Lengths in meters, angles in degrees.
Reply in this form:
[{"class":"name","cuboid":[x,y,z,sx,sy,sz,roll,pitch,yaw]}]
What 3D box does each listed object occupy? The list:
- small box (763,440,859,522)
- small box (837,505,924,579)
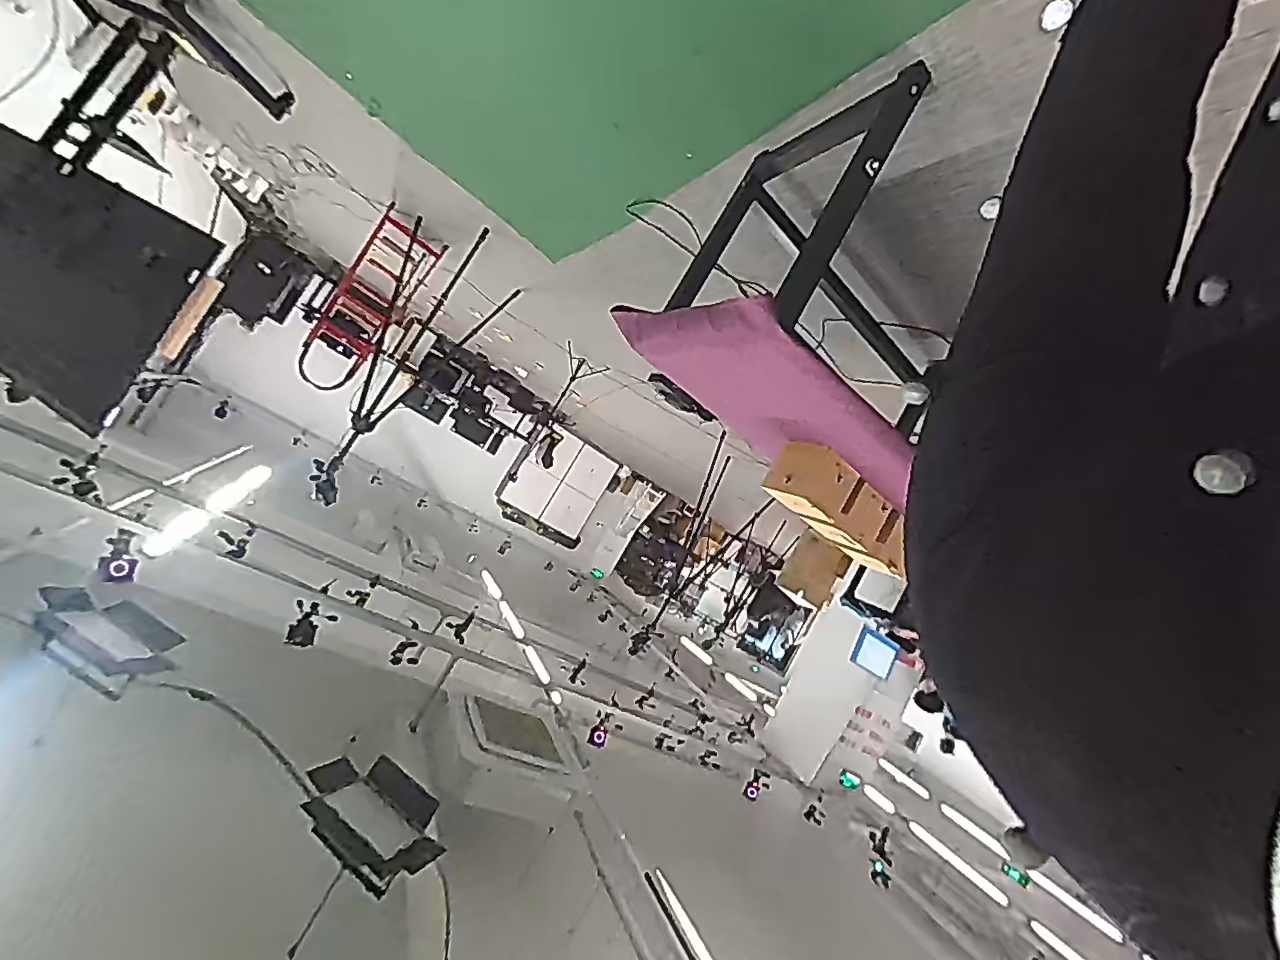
[{"class":"small box","cuboid":[0.507,-0.003,1.600,0.168,0.176,0.179,34,173,-29]},{"class":"small box","cuboid":[0.804,0.199,1.807,0.168,0.176,0.179,33,174,-29]}]
